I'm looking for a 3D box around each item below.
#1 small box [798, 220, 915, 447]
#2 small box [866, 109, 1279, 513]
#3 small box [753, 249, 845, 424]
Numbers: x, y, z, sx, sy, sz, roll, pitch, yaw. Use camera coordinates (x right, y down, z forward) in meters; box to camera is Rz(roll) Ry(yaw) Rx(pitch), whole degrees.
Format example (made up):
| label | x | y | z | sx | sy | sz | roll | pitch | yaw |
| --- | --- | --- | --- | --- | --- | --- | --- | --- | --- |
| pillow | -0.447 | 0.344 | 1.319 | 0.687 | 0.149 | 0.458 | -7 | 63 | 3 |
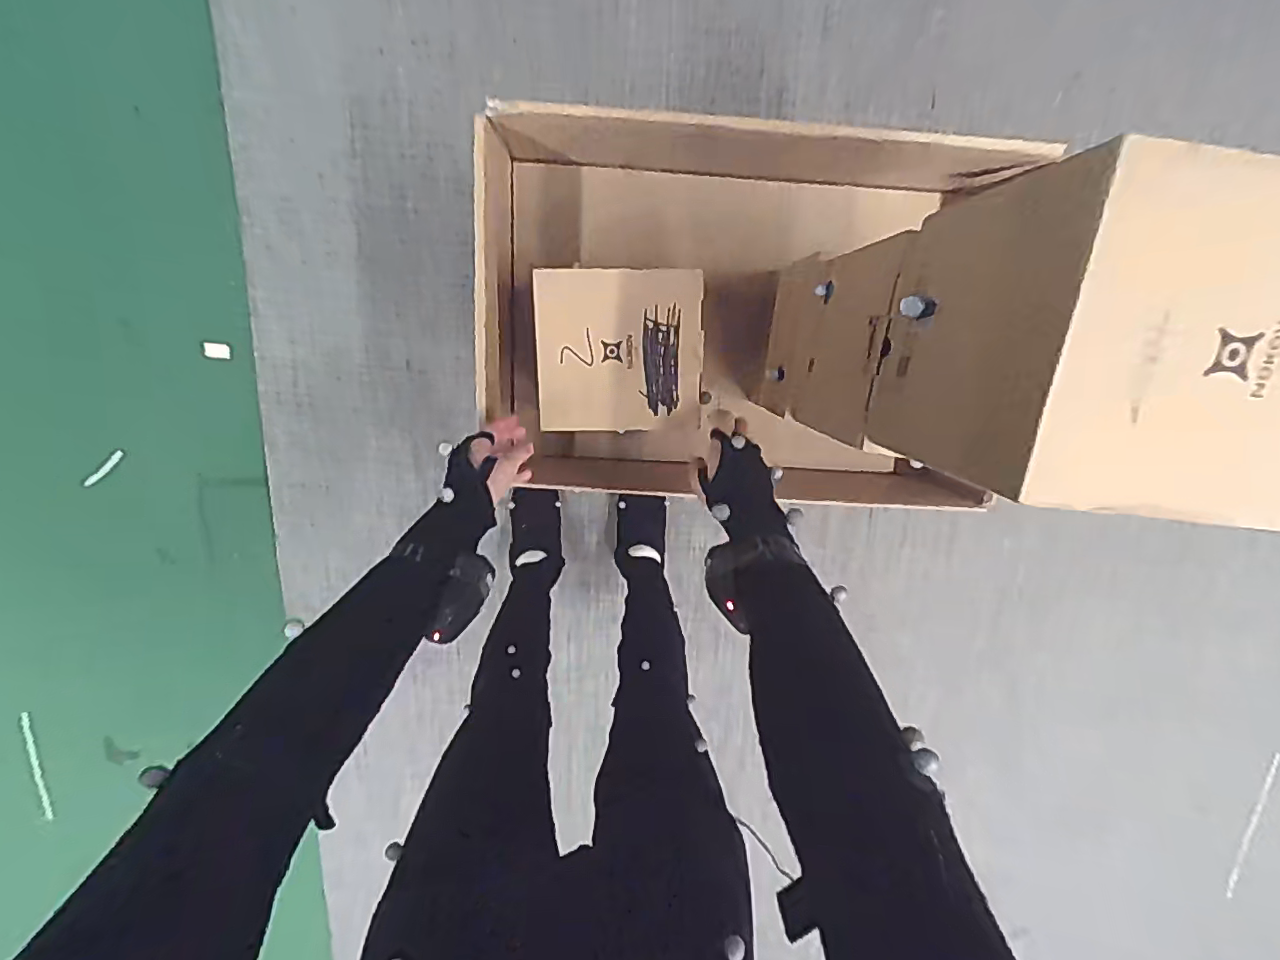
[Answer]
| label | x | y | z | sx | sy | sz | roll | pitch | yaw |
| --- | --- | --- | --- | --- | --- | --- | --- | --- | --- |
| small box | 0.259 | -0.117 | 0.488 | 0.179 | 0.176 | 0.168 | 6 | 104 | -3 |
| small box | 0.269 | -0.088 | 0.328 | 0.179 | 0.176 | 0.168 | 6 | 103 | -2 |
| small box | 0.242 | -0.159 | 0.646 | 0.168 | 0.176 | 0.179 | 7 | 103 | -3 |
